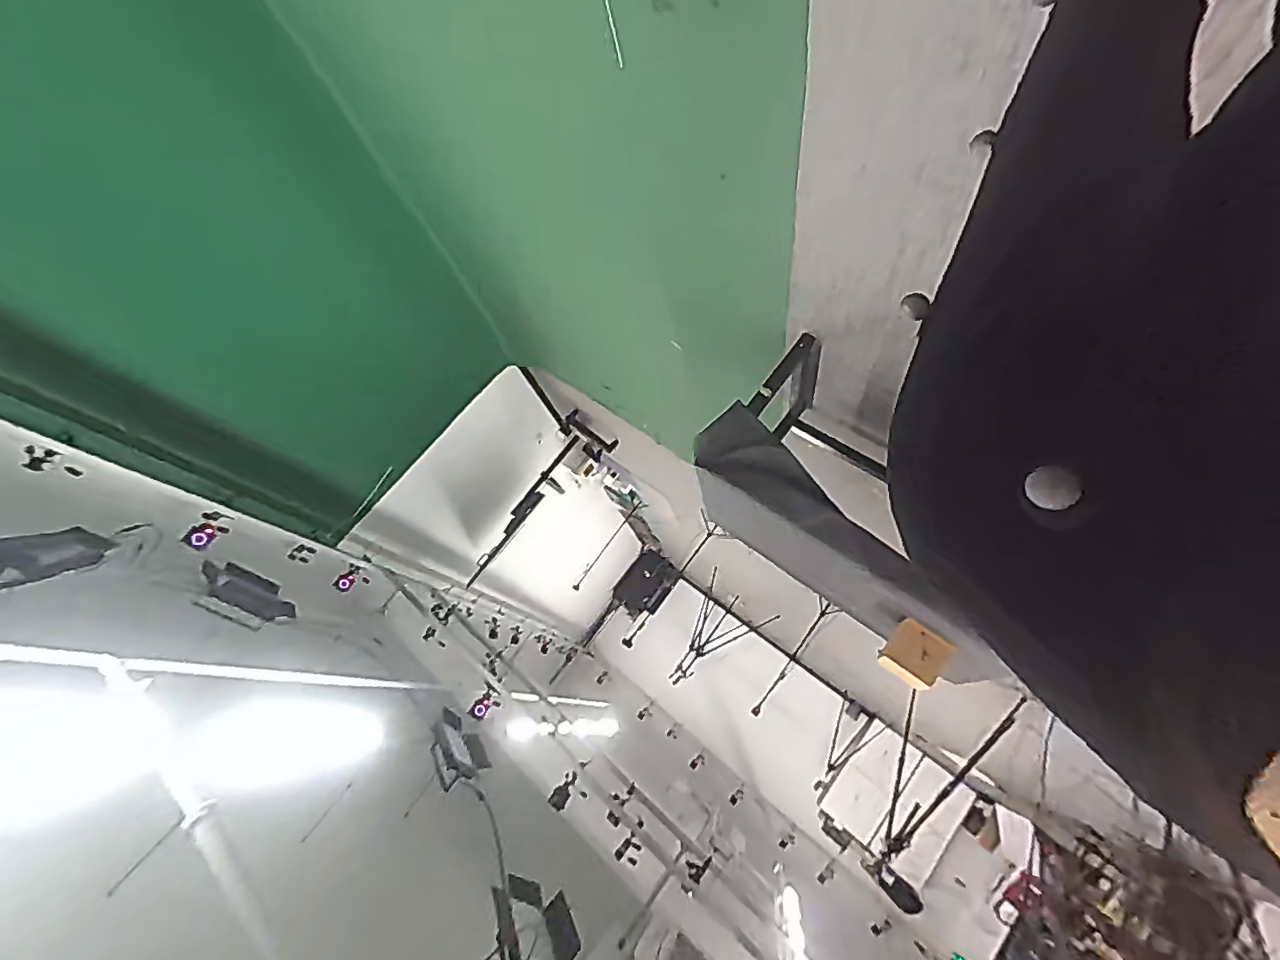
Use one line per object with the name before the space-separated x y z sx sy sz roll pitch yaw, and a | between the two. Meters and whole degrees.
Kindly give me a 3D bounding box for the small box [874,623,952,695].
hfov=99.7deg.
small box | 0.936 0.611 1.853 0.168 0.176 0.179 34 168 25
